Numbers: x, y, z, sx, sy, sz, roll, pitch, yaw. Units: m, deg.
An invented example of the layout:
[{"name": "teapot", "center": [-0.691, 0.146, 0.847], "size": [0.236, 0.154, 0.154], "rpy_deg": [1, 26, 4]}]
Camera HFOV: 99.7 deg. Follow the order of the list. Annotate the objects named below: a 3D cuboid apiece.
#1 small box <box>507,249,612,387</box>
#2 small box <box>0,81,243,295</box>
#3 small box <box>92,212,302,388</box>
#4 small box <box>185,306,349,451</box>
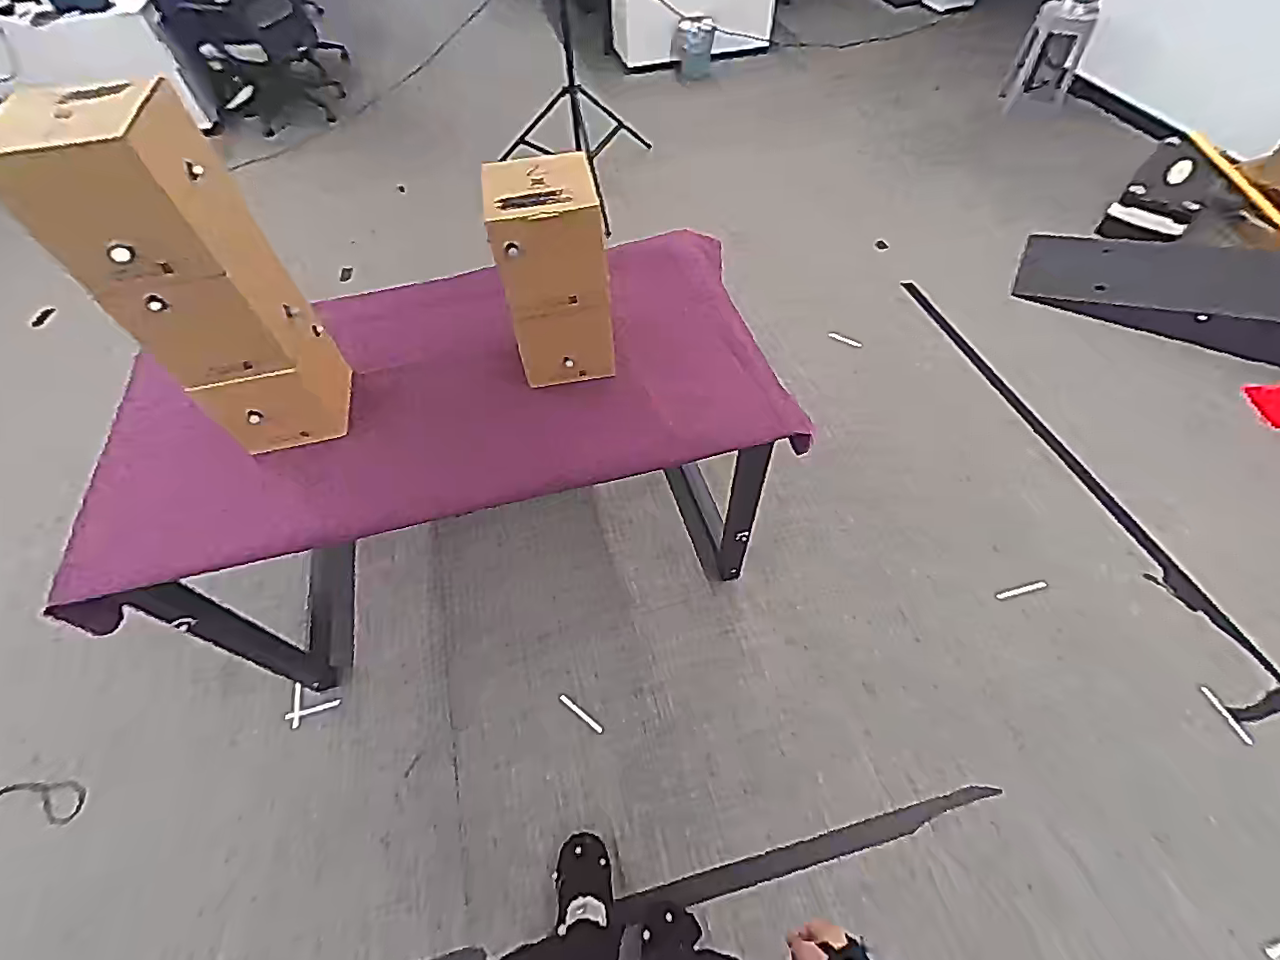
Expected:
[{"name": "small box", "center": [-0.149, -0.300, 1.011], "size": [0.168, 0.176, 0.179], "rpy_deg": [-10, 56, -3]}, {"name": "small box", "center": [-0.637, -0.360, 0.673], "size": [0.168, 0.176, 0.179], "rpy_deg": [-13, 56, -7]}, {"name": "small box", "center": [-0.637, -0.267, 0.809], "size": [0.168, 0.176, 0.179], "rpy_deg": [-14, 55, -7]}, {"name": "small box", "center": [-0.630, -0.169, 0.940], "size": [0.168, 0.176, 0.179], "rpy_deg": [-13, 55, -7]}]
